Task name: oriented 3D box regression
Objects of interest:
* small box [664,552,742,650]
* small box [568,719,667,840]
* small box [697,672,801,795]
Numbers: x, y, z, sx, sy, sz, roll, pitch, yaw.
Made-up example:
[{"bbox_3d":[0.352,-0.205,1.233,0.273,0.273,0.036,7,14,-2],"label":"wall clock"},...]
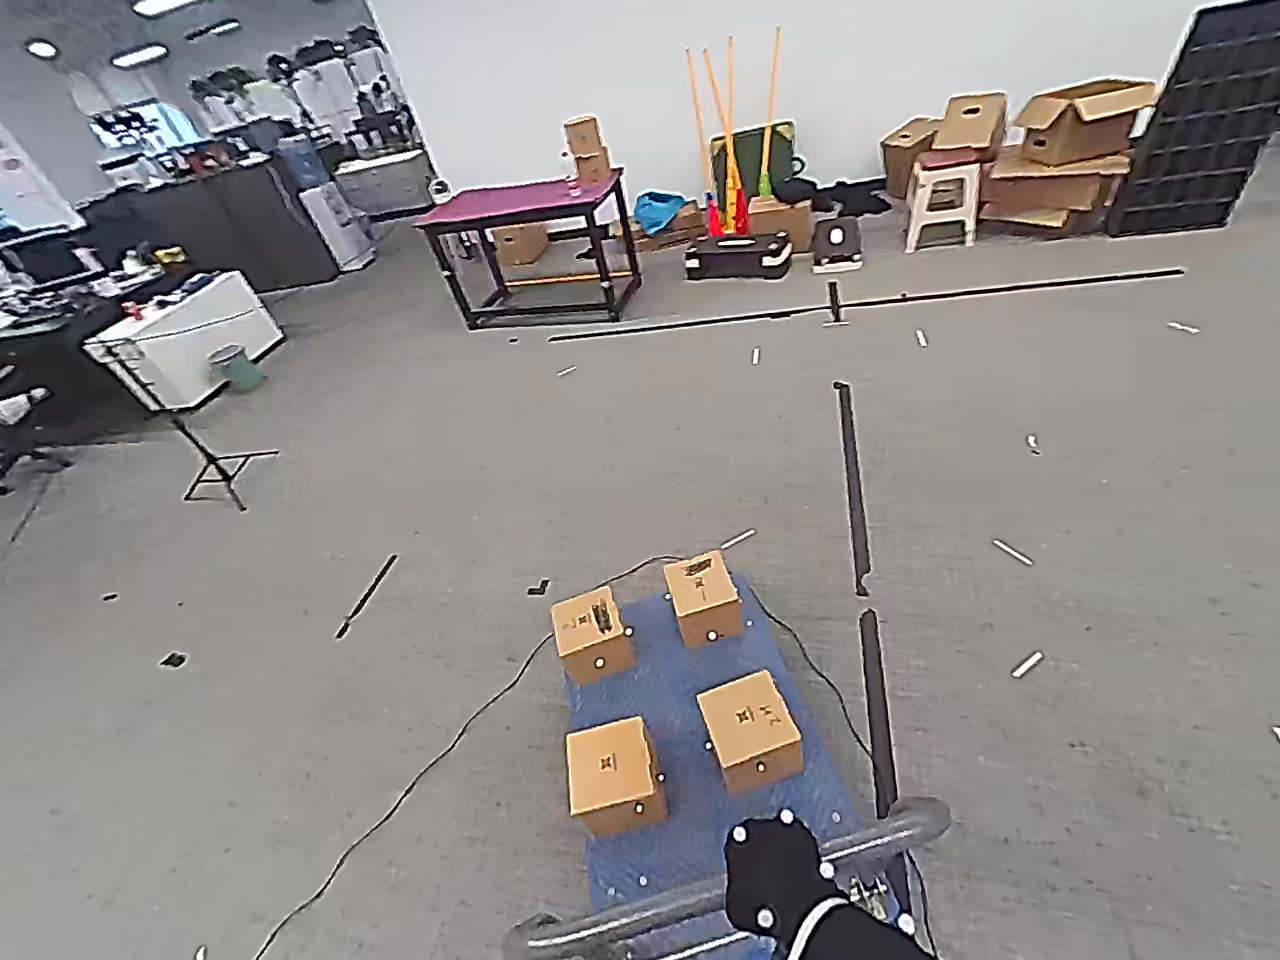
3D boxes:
[{"bbox_3d":[0.172,0.334,1.489,0.168,0.176,0.179,-17,42,-1],"label":"small box"},{"bbox_3d":[-0.050,0.662,1.191,0.179,0.176,0.168,-14,40,-1],"label":"small box"},{"bbox_3d":[0.245,0.567,1.204,0.179,0.176,0.168,-19,41,-4],"label":"small box"}]
